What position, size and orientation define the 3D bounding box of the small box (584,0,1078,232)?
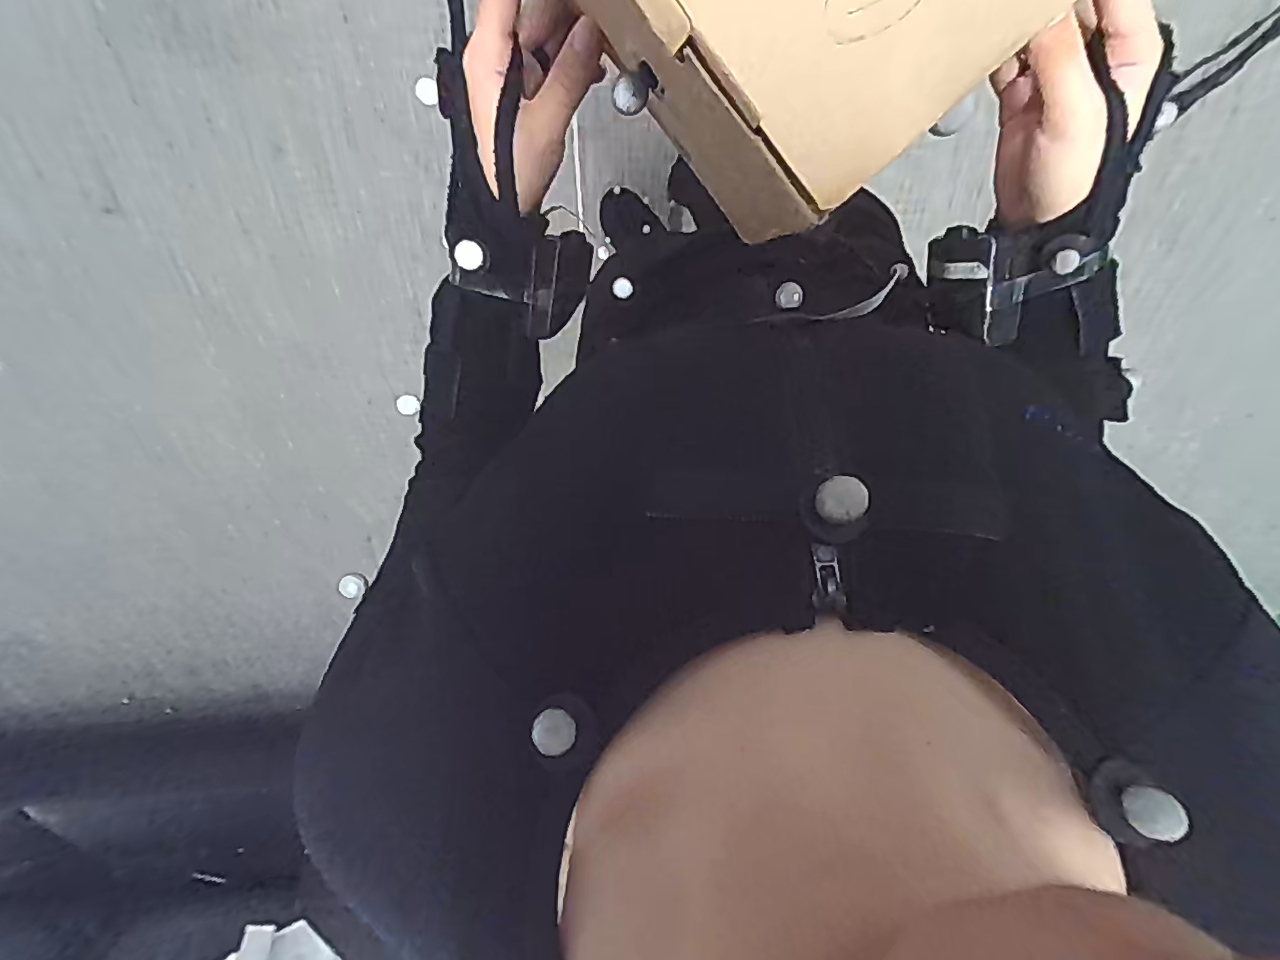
[{"bbox_3d":[0.070,-0.211,0.188,0.179,0.176,0.168,-37,104,18],"label":"small box"}]
